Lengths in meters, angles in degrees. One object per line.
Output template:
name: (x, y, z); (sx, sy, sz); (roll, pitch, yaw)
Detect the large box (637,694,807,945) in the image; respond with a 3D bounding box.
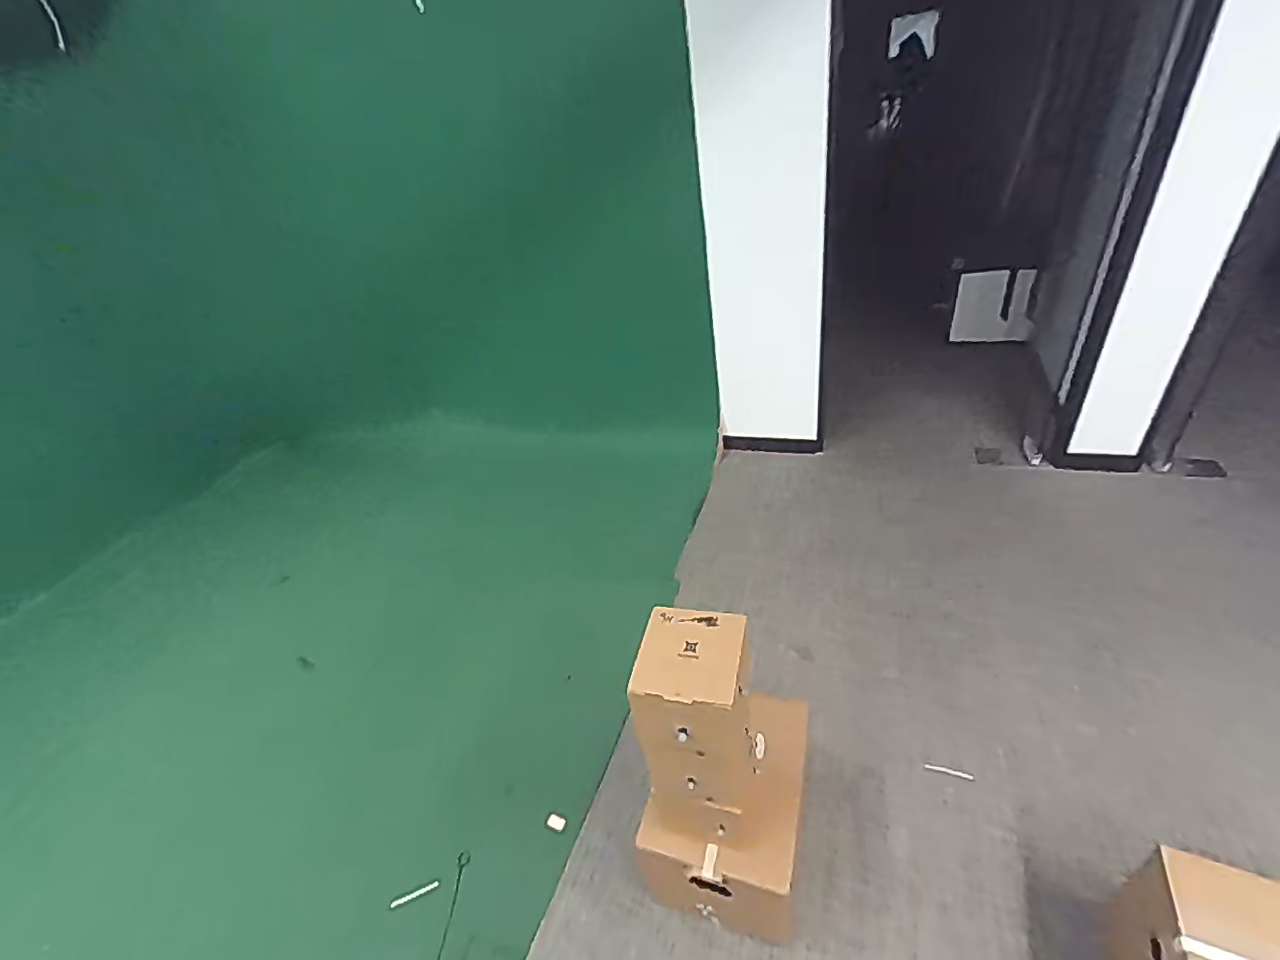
large box: (0.220, 0.769, 1.284); (0.320, 0.320, 0.408); (4, 37, 21)

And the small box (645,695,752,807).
small box: (0.118, 0.477, 1.011); (0.168, 0.176, 0.179); (1, 36, 17)

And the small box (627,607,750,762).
small box: (0.093, 0.345, 0.916); (0.168, 0.176, 0.179); (2, 37, 19)

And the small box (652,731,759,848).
small box: (0.142, 0.613, 1.099); (0.179, 0.176, 0.168); (3, 37, 21)
